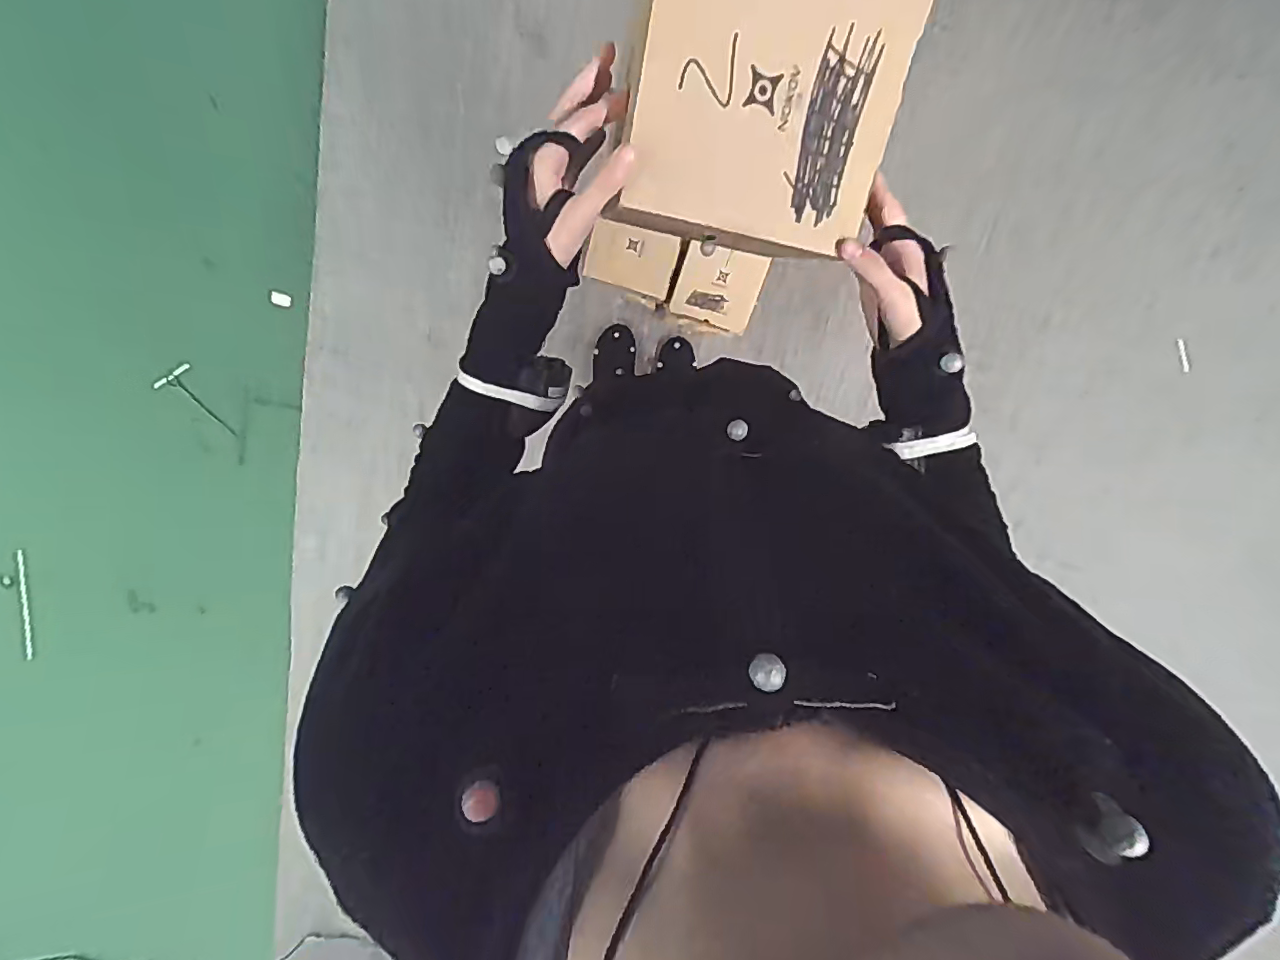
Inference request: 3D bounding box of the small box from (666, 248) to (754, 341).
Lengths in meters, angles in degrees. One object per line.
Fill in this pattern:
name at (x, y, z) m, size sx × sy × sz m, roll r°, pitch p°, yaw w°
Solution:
small box at (0.163, -0.448, 1.322) m, size 0.168 × 0.176 × 0.179 m, roll 13°, pitch 106°, yaw -3°
